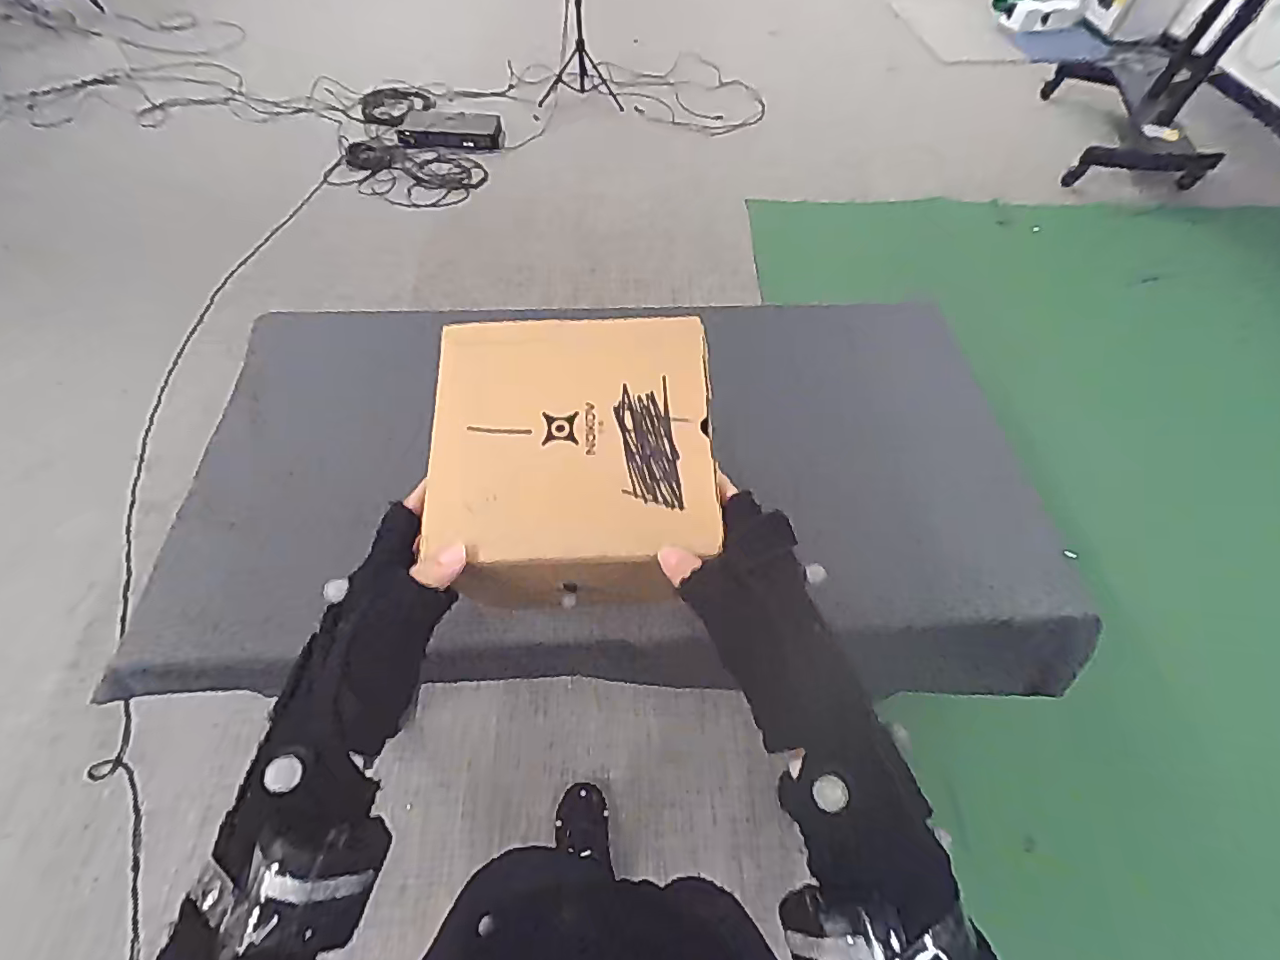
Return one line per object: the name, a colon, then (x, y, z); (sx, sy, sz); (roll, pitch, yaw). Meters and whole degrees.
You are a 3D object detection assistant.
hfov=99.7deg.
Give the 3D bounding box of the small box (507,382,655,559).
small box: (-0.069, -0.004, 0.697); (0.168, 0.176, 0.179); (-2, 58, -3)
